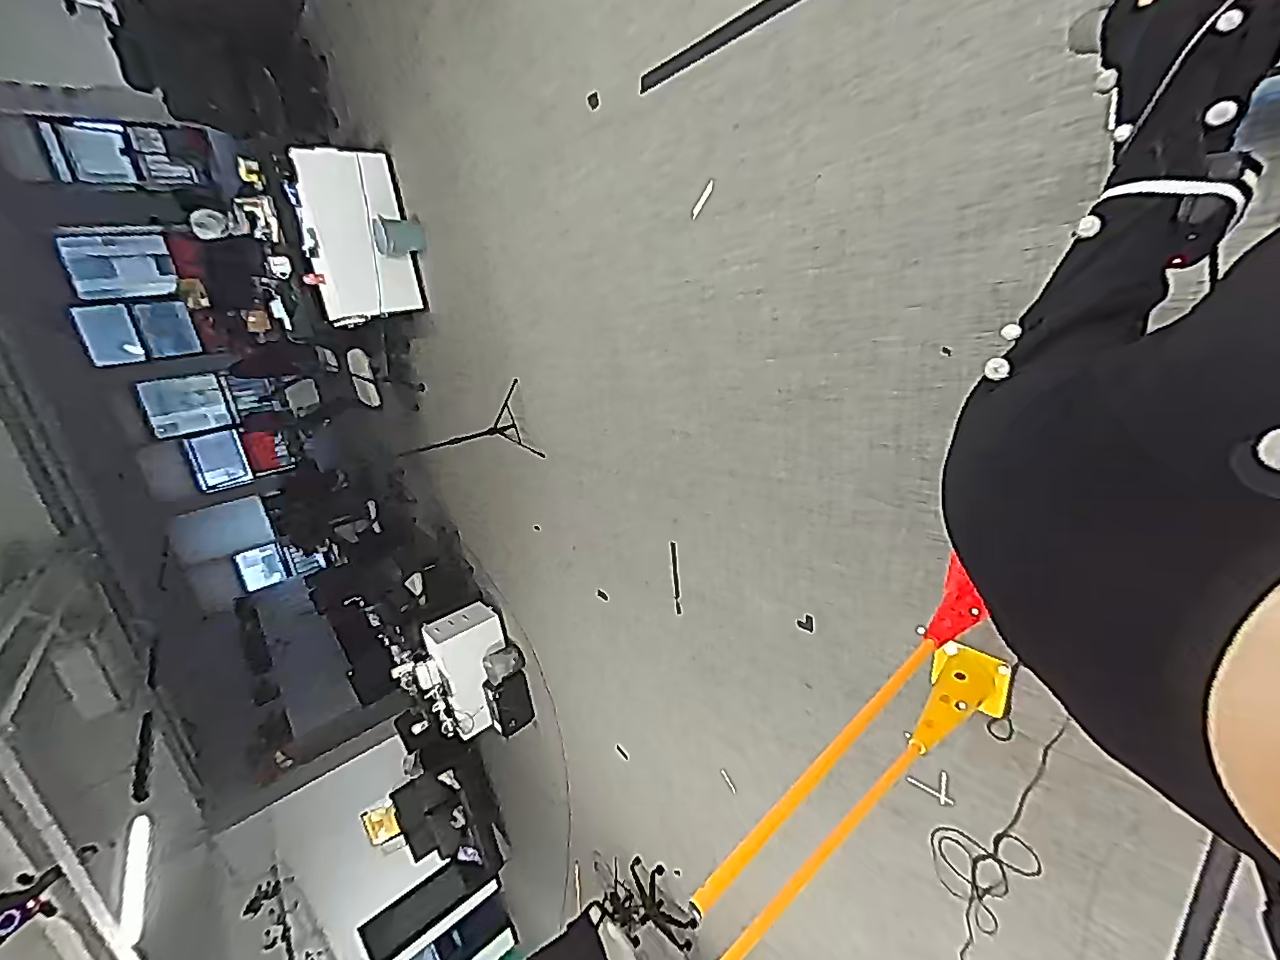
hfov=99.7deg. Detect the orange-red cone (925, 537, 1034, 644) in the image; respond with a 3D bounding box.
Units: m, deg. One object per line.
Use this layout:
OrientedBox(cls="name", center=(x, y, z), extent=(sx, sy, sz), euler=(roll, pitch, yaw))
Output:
OrientedBox(cls="orange-red cone", center=(0.820, 0.317, 1.380), extent=(0.198, 0.360, 0.199), euler=(23, 124, 43))
